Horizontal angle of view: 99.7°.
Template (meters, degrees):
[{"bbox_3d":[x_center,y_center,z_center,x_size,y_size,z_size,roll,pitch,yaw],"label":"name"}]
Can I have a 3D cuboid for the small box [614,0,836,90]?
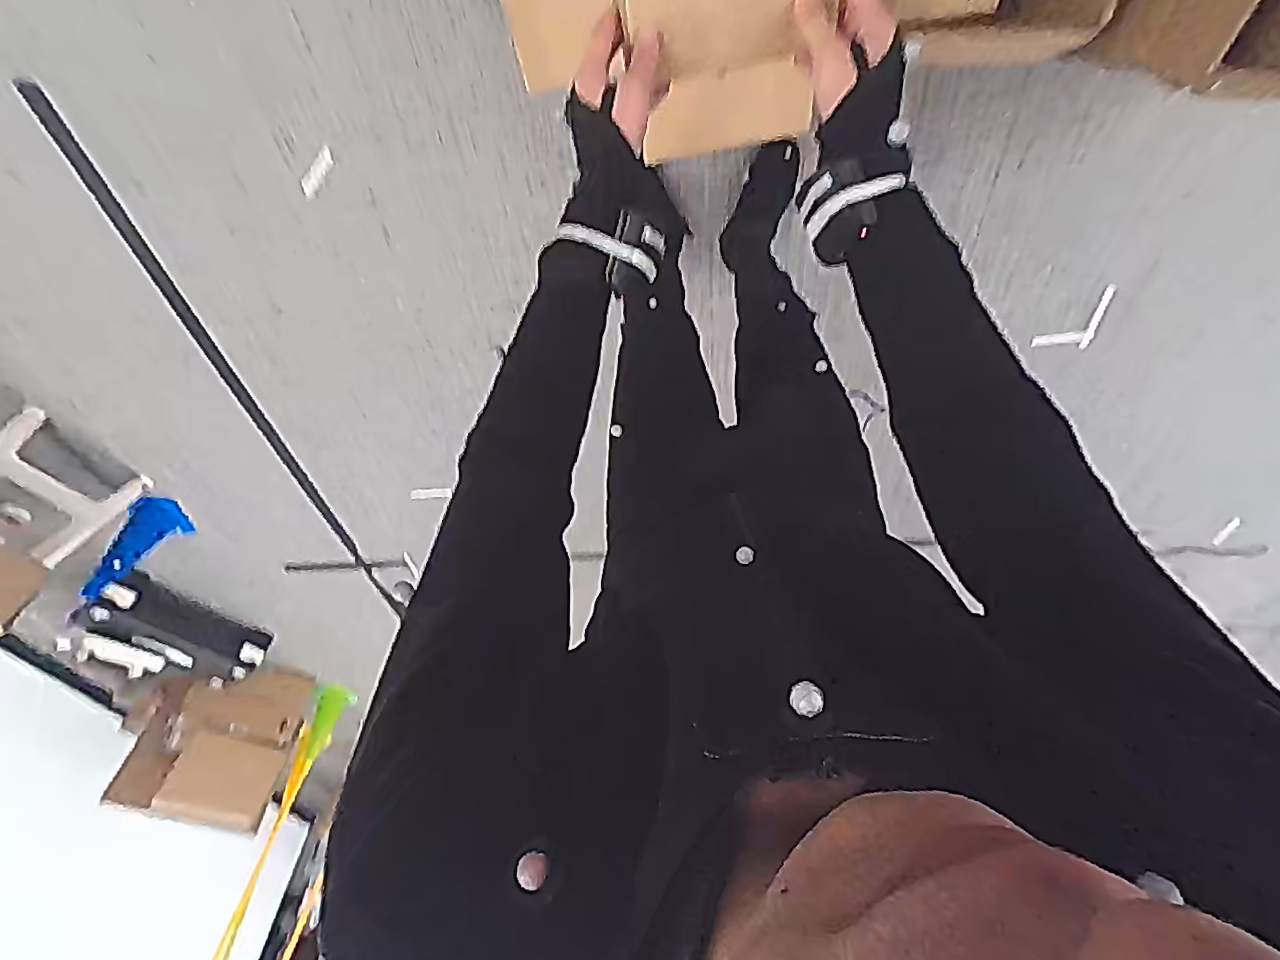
[{"bbox_3d":[0.062,-0.457,0.457,0.179,0.176,0.168,-6,138,4],"label":"small box"}]
